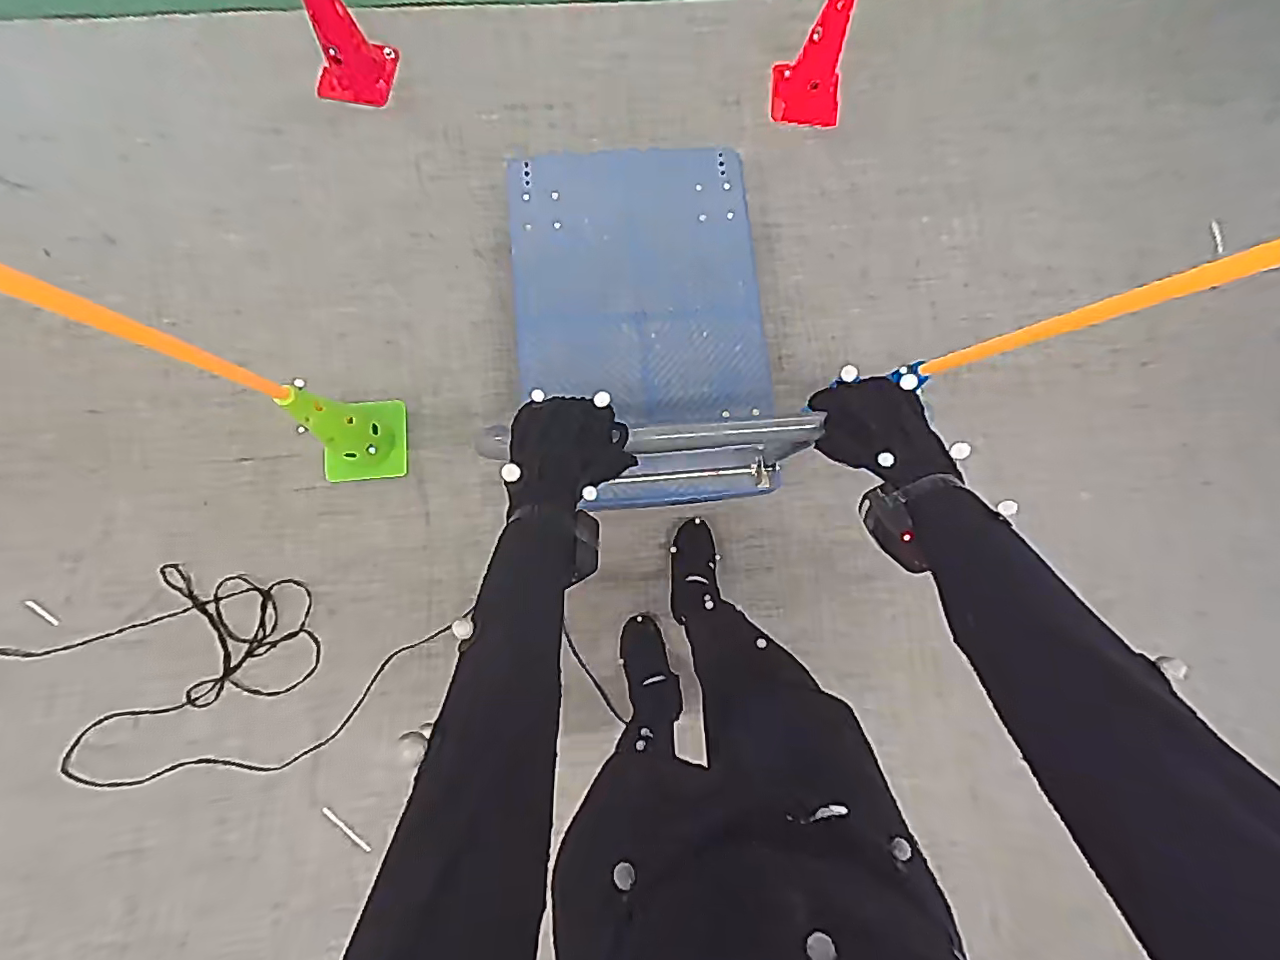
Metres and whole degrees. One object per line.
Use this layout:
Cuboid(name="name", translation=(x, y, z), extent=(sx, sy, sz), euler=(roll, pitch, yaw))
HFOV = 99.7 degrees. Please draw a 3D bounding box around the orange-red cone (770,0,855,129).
Cuboid(name="orange-red cone", translation=(0.492, -1.156, 1.425), extent=(0.198, 0.360, 0.199), euler=(7, 81, 0))
